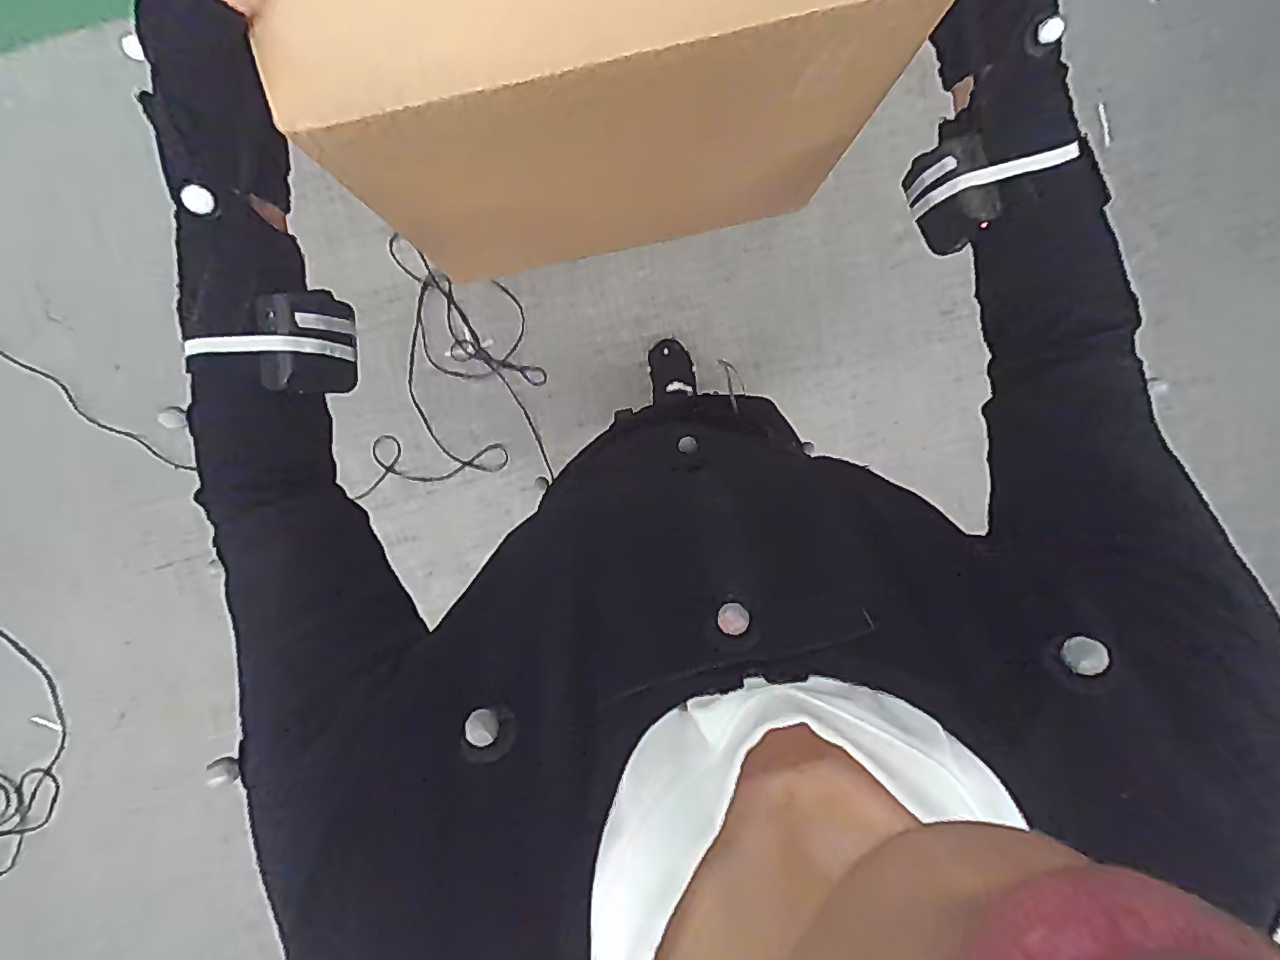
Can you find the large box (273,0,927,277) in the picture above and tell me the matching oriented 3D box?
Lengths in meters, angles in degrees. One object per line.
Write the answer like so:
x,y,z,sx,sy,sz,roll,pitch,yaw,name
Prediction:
-0.043,-0.410,0.454,0.408,0.320,0.320,-13,95,0,large box
